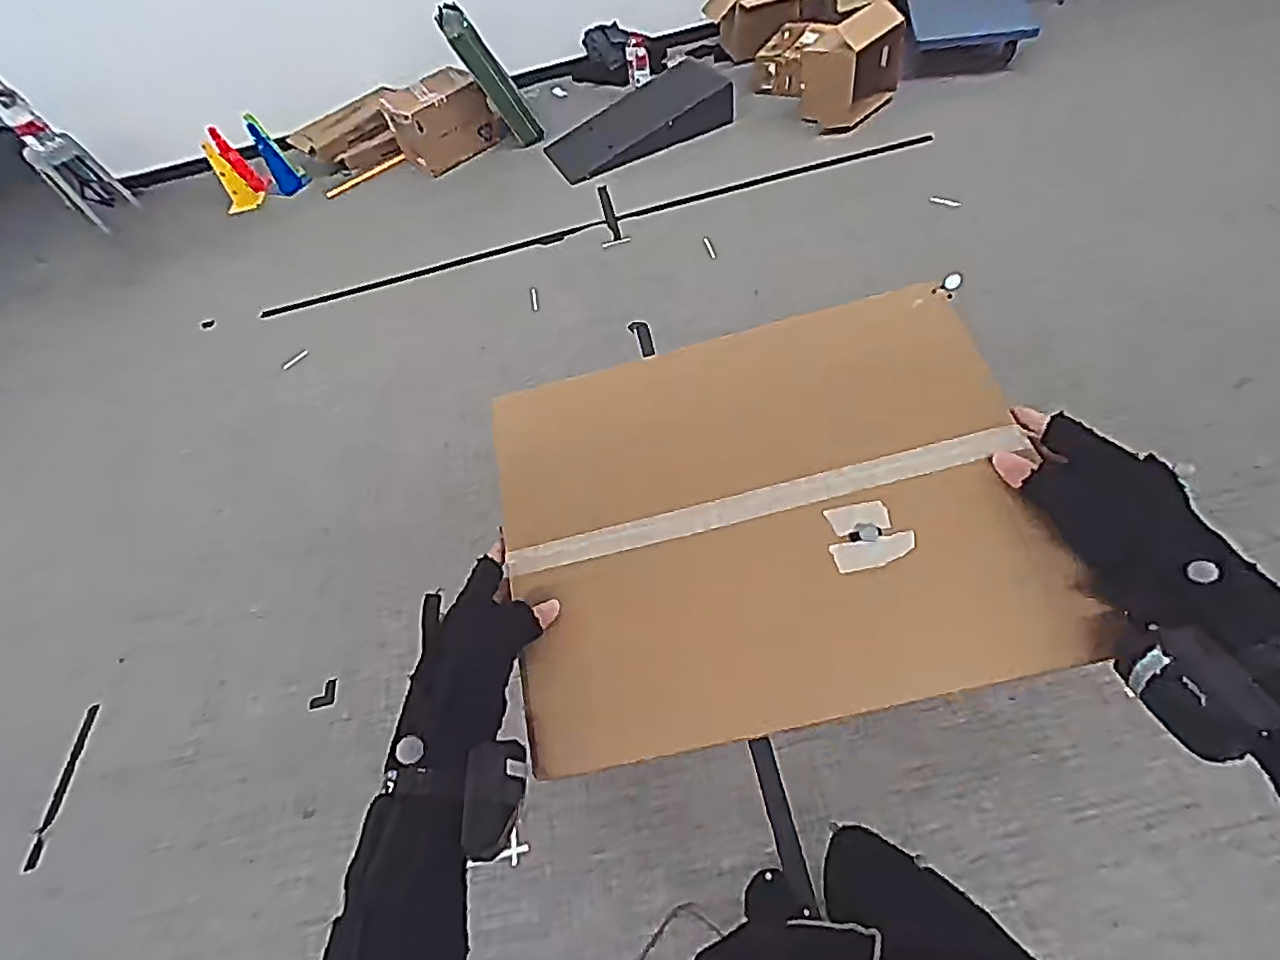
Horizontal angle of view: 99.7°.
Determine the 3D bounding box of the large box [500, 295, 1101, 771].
[{"bbox_3d":[0.113,0.076,0.570,0.408,0.320,0.320,-15,68,4],"label":"large box"}]
